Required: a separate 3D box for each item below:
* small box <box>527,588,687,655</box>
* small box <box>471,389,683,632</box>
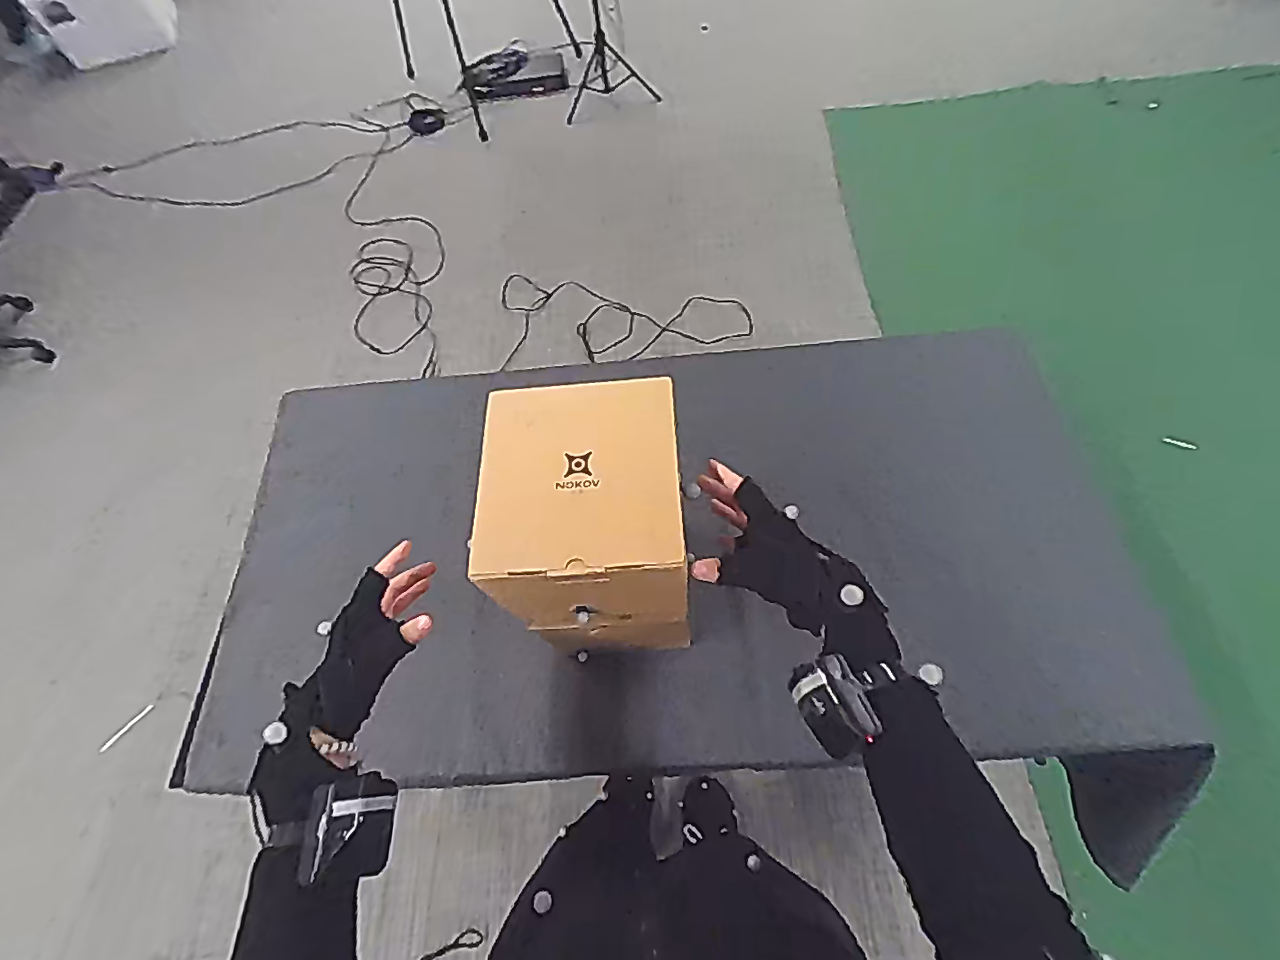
[{"bbox_3d":[-0.032,0.112,0.664,0.168,0.176,0.179,-5,61,3],"label":"small box"},{"bbox_3d":[-0.046,0.037,0.520,0.168,0.176,0.179,-5,62,3],"label":"small box"}]
